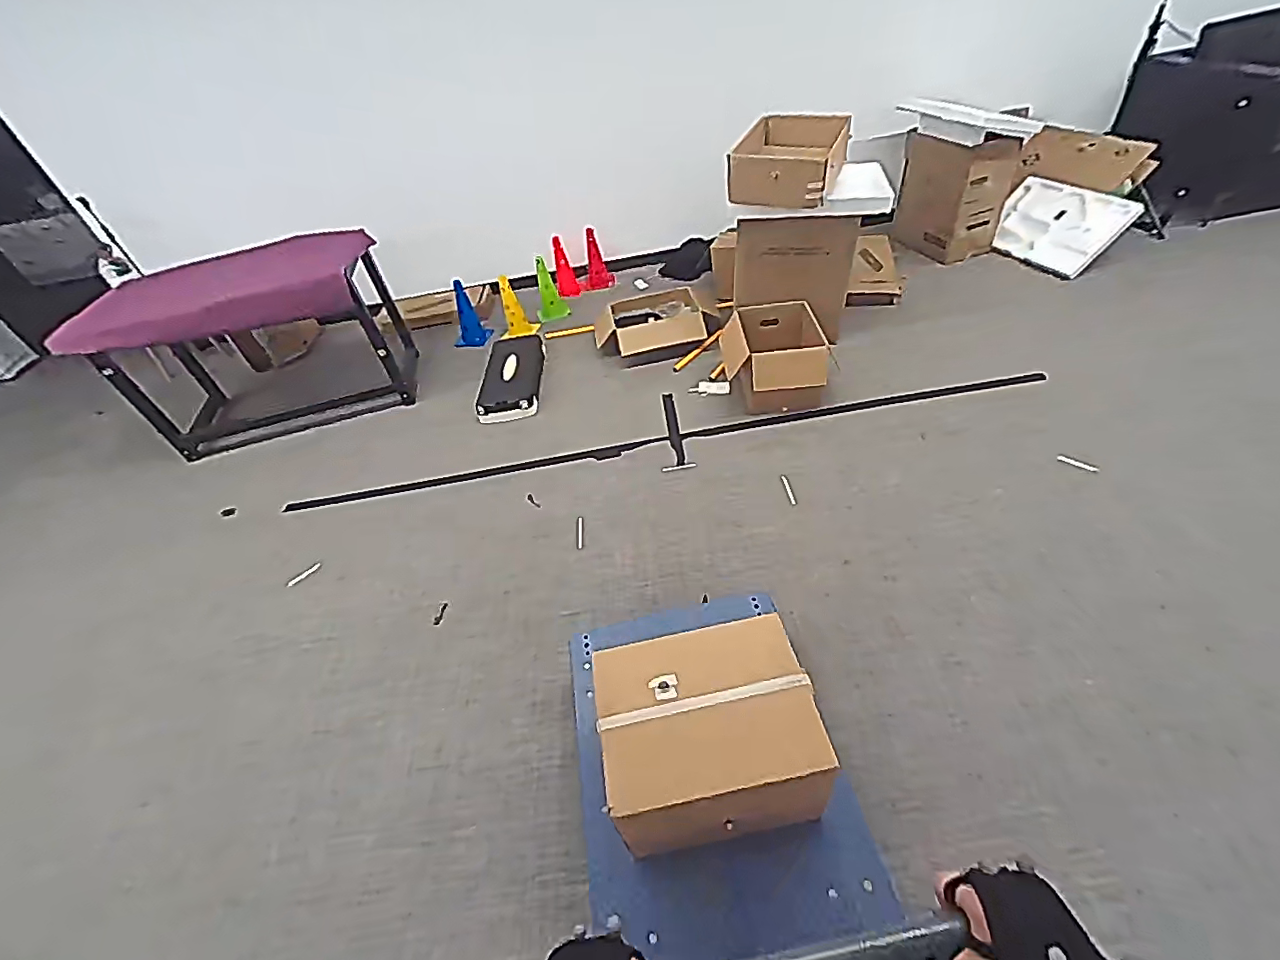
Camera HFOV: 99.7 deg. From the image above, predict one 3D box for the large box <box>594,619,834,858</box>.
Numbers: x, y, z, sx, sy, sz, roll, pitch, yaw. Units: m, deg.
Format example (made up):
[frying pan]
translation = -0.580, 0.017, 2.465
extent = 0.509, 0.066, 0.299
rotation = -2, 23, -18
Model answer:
[large box]
translation = 0.144, 0.548, 1.143
extent = 0.408, 0.320, 0.320
rotation = -13, 43, -1
